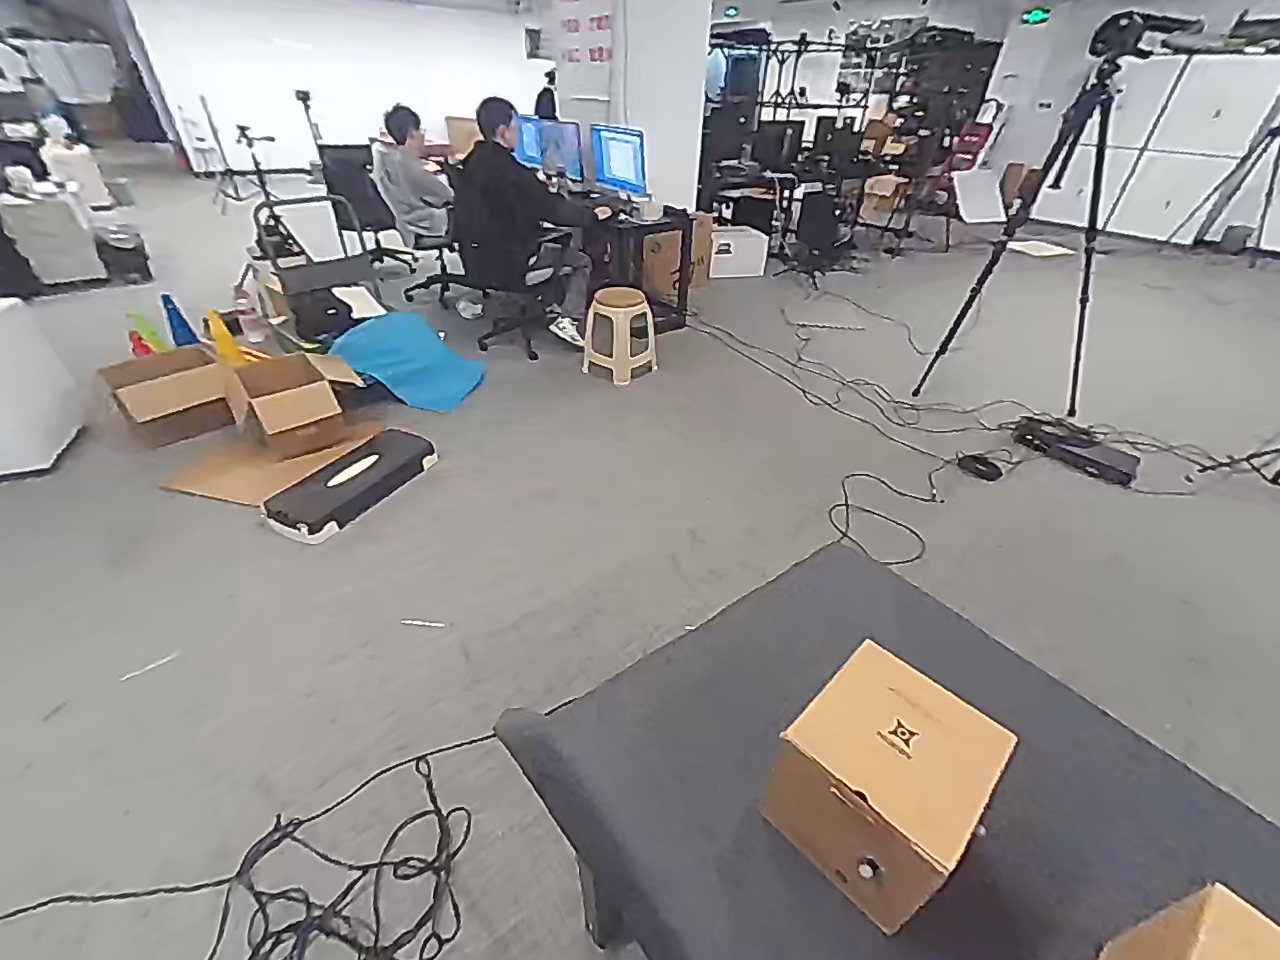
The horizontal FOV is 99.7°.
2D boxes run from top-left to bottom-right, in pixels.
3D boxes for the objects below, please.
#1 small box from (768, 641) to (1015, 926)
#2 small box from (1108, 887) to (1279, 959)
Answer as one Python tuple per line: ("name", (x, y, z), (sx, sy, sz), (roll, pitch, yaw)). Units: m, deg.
("small box", (0.257, 0.322, 0.585), (0.179, 0.176, 0.168), (-28, 46, -36))
("small box", (0.456, 0.463, 0.396), (0.179, 0.176, 0.168), (-24, 43, -31))
